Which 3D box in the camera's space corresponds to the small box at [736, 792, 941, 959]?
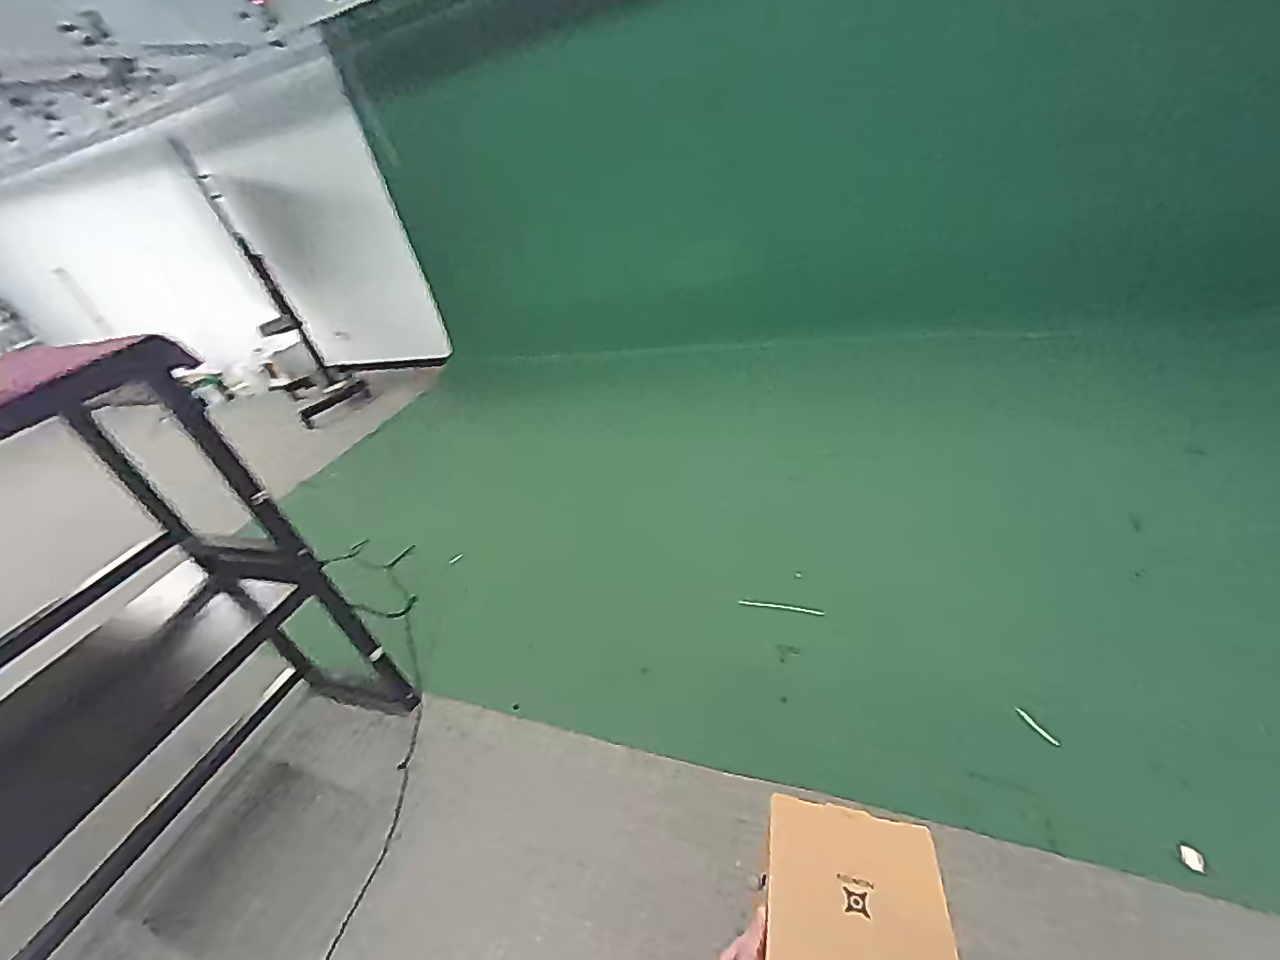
[{"bbox_3d":[0.189,0.465,0.546,0.168,0.176,0.179,7,27,12],"label":"small box"}]
